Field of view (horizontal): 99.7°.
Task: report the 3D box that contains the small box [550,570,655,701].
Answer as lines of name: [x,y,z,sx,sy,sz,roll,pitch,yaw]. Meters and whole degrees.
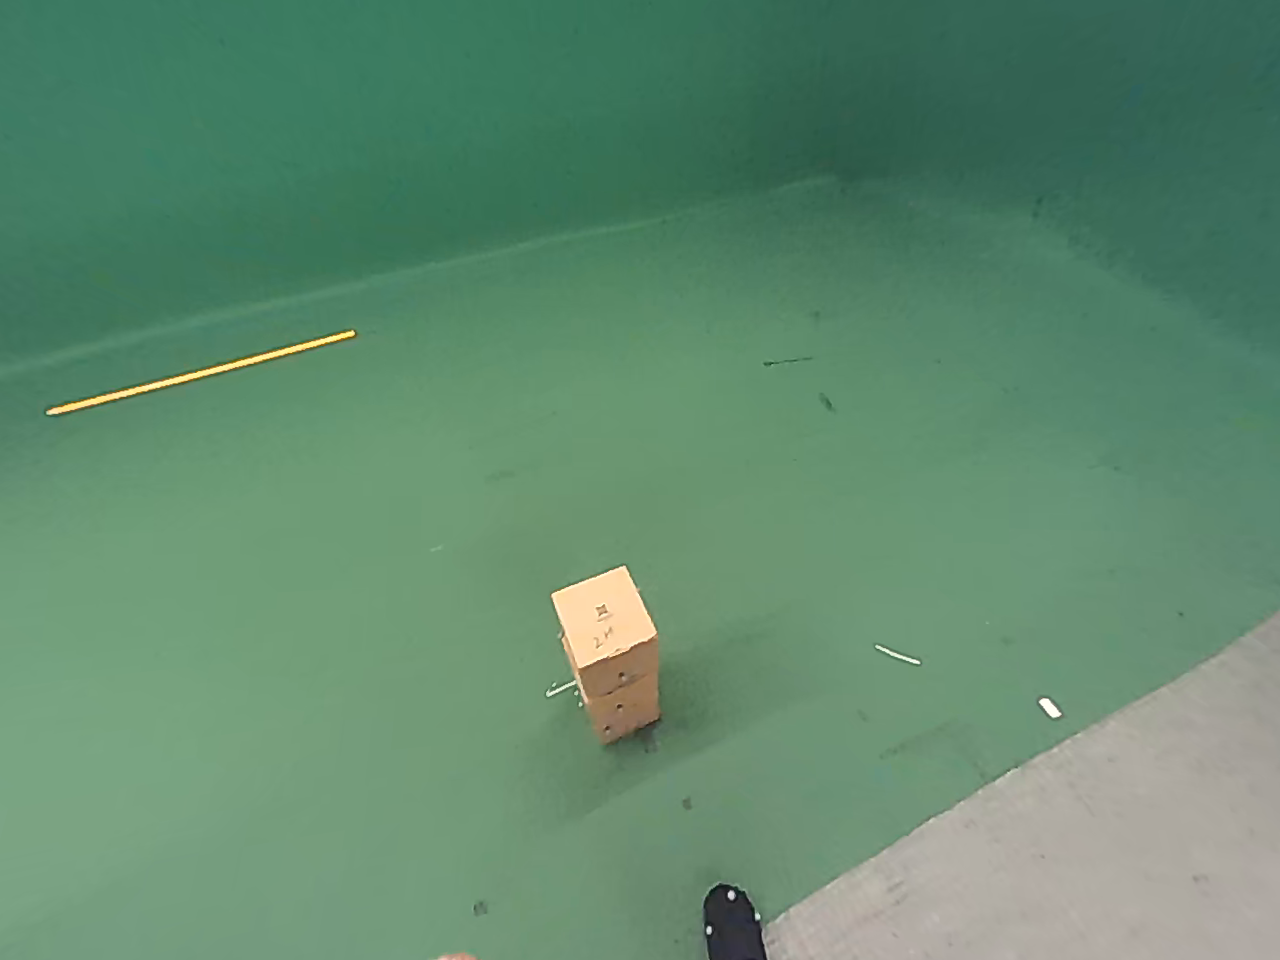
small box: [-0.079,0.323,1.121,0.168,0.176,0.179,-18,51,-14]

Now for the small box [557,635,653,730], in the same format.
small box: [-0.081,0.437,1.241,0.168,0.176,0.179,-19,51,-15]
